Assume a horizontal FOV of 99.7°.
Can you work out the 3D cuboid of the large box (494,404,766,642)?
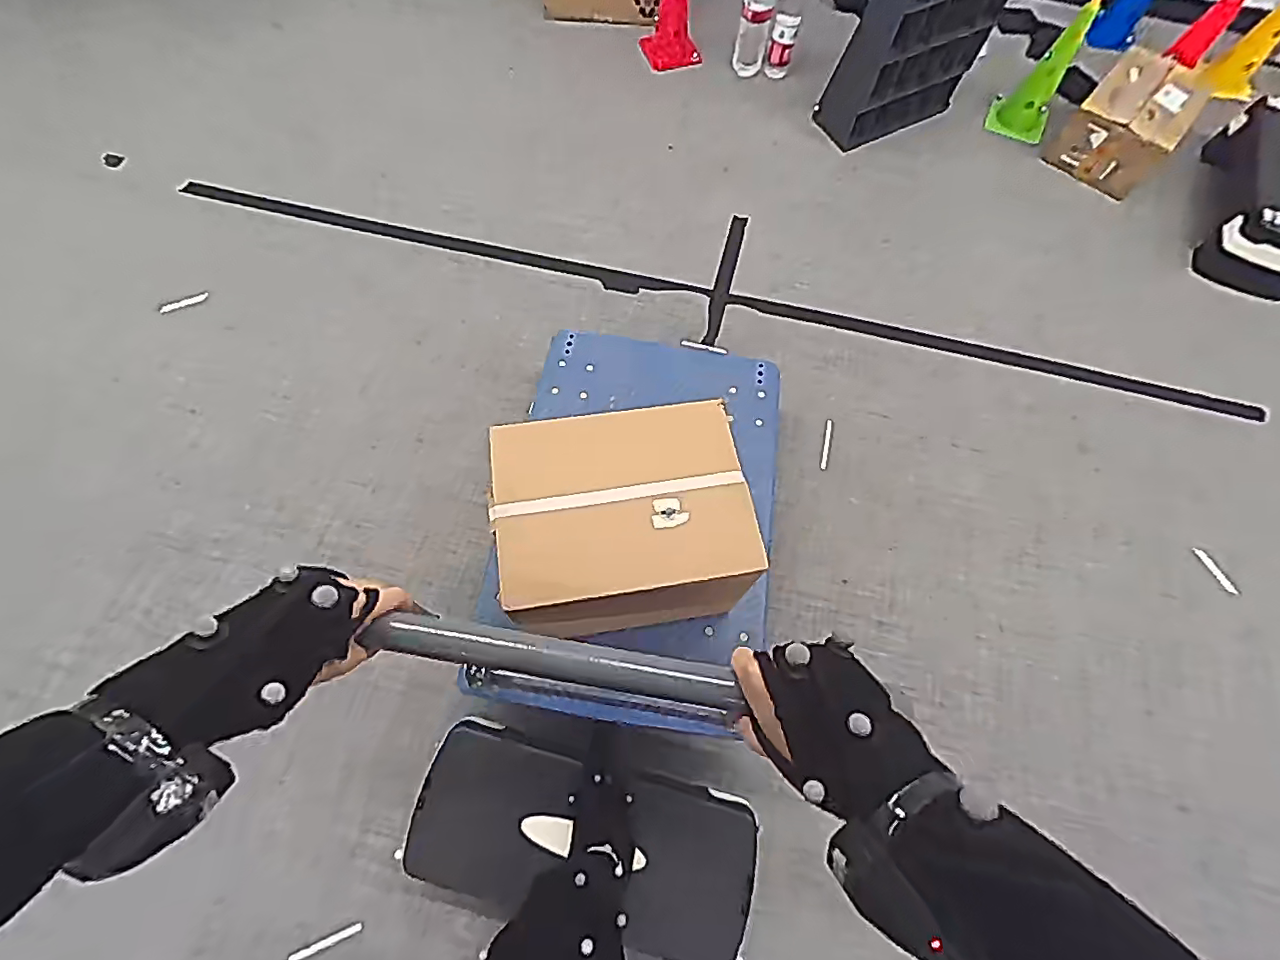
[{"bbox_3d":[-0.034,0.091,1.006,0.408,0.320,0.320,-8,67,-8],"label":"large box"}]
